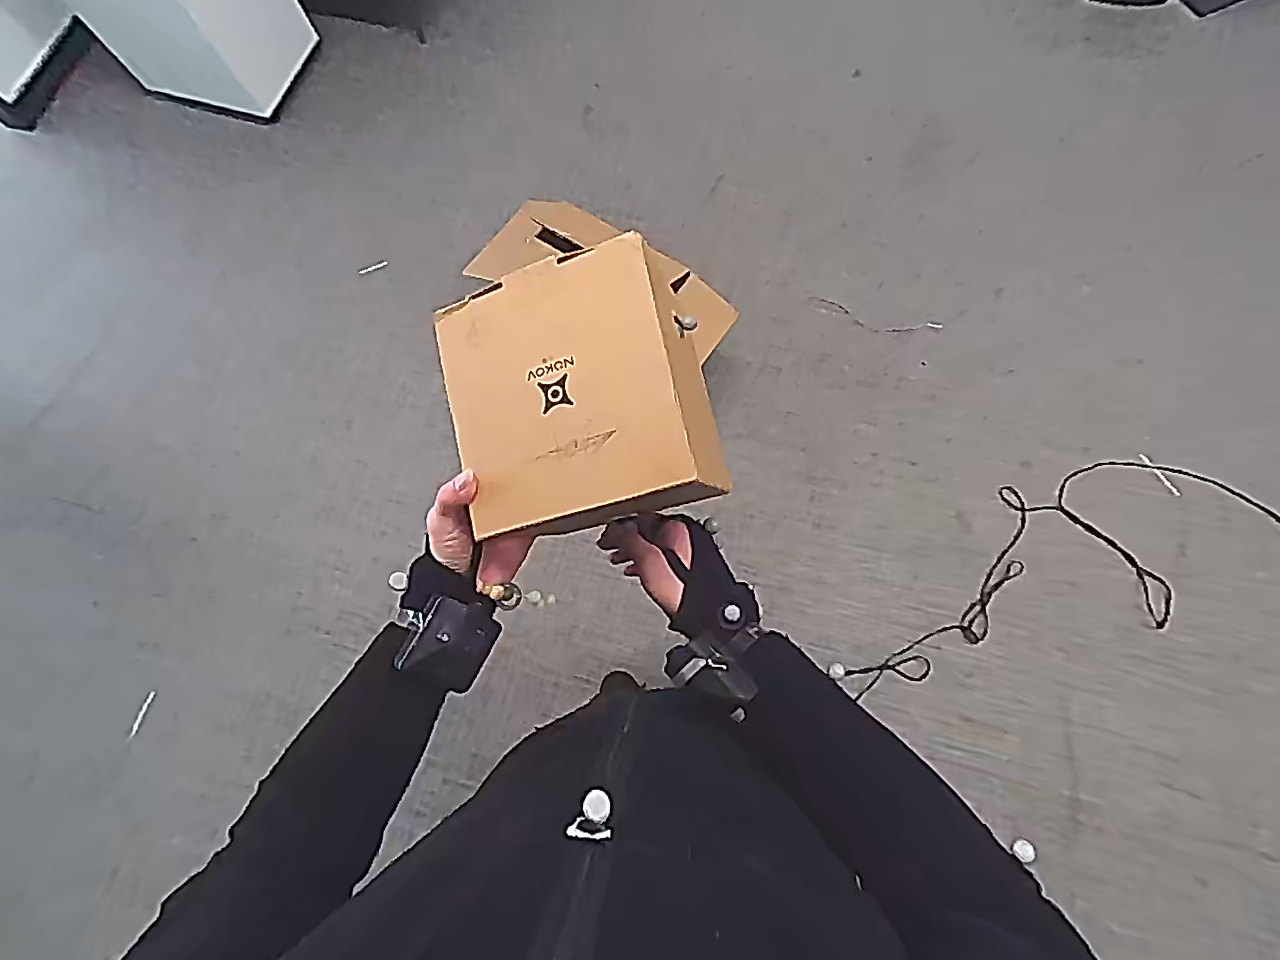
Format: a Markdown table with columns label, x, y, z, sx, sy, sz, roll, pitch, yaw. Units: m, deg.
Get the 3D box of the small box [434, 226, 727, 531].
| label | x | y | z | sx | sy | sz | roll | pitch | yaw |
| --- | --- | --- | --- | --- | --- | --- | --- | --- | --- |
| small box | -0.035 | -0.058 | 0.434 | 0.168 | 0.176 | 0.179 | -13 | 81 | 17 |
